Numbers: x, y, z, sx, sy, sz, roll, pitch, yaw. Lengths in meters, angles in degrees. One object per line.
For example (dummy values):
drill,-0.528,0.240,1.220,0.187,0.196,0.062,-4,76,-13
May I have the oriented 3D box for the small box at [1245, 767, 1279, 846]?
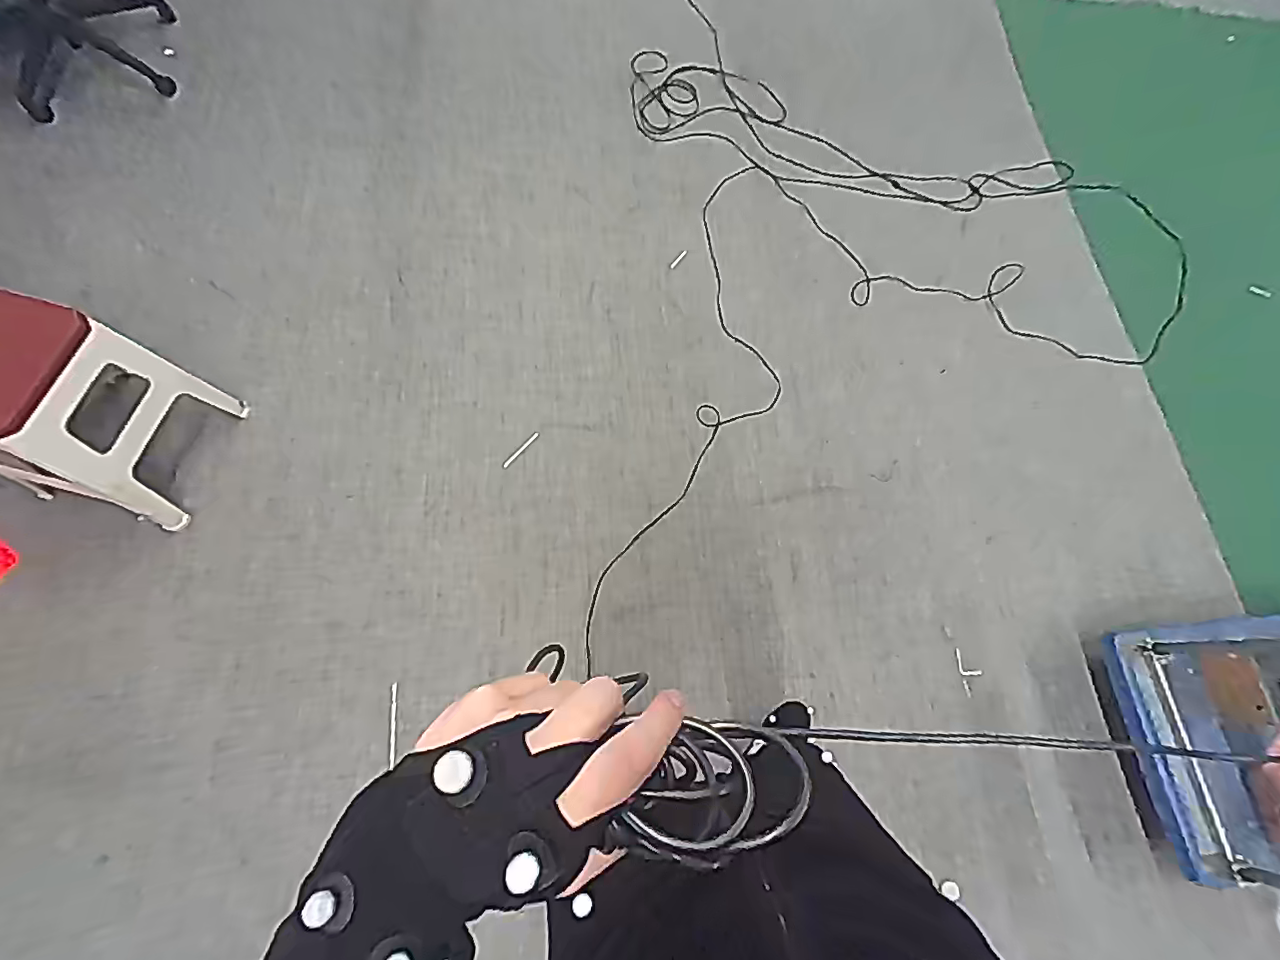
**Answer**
small box,1.580,0.762,1.240,0.179,0.176,0.168,-2,71,-6
